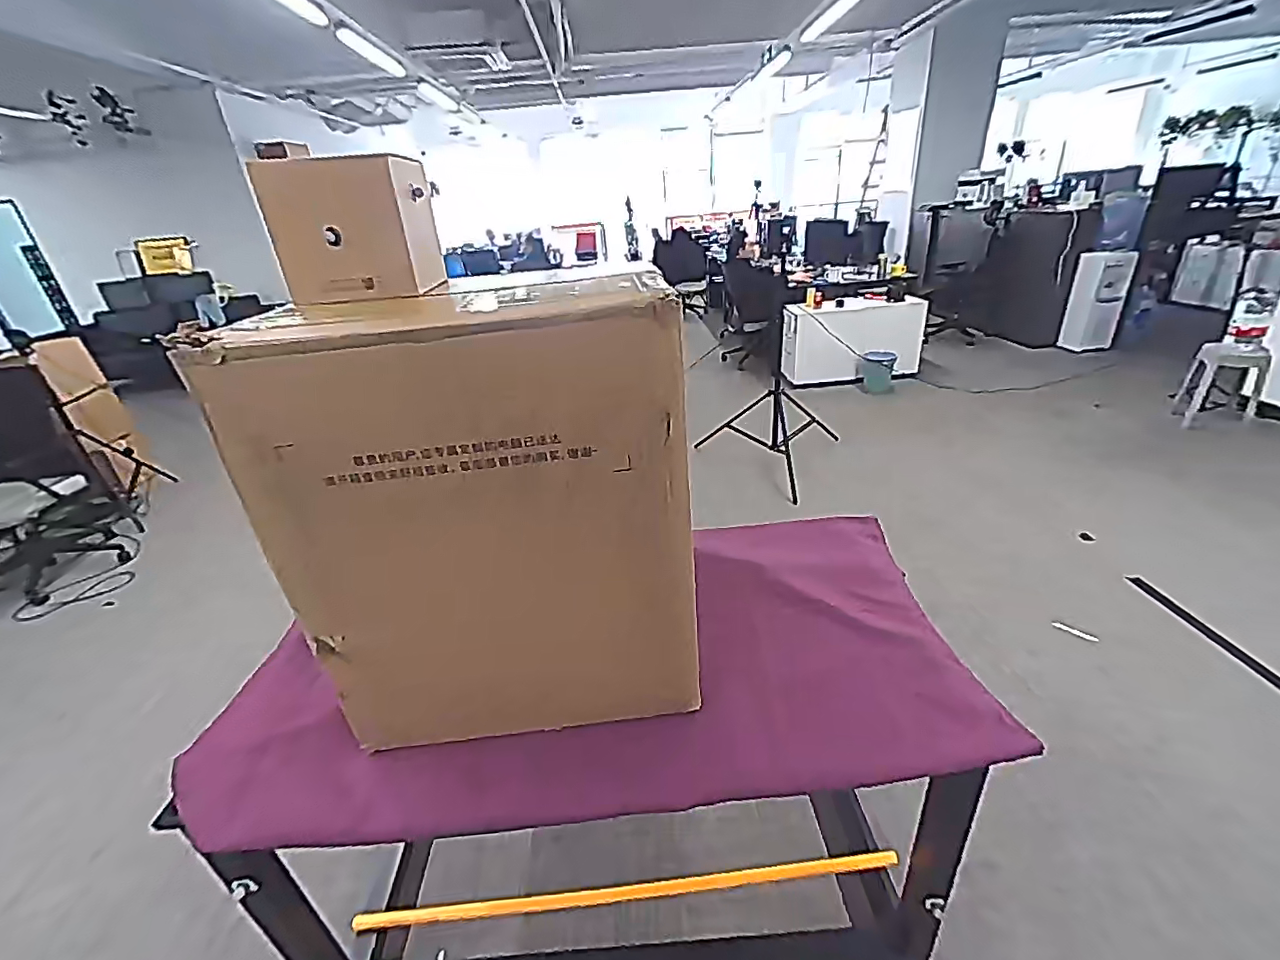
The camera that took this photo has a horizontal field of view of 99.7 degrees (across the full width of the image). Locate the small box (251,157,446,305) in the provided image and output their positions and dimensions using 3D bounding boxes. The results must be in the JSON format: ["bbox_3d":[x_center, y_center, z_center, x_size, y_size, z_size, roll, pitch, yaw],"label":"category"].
[{"bbox_3d":[-0.383,-0.342,0.754,0.168,0.176,0.179,-5,27,-4],"label":"small box"}]
